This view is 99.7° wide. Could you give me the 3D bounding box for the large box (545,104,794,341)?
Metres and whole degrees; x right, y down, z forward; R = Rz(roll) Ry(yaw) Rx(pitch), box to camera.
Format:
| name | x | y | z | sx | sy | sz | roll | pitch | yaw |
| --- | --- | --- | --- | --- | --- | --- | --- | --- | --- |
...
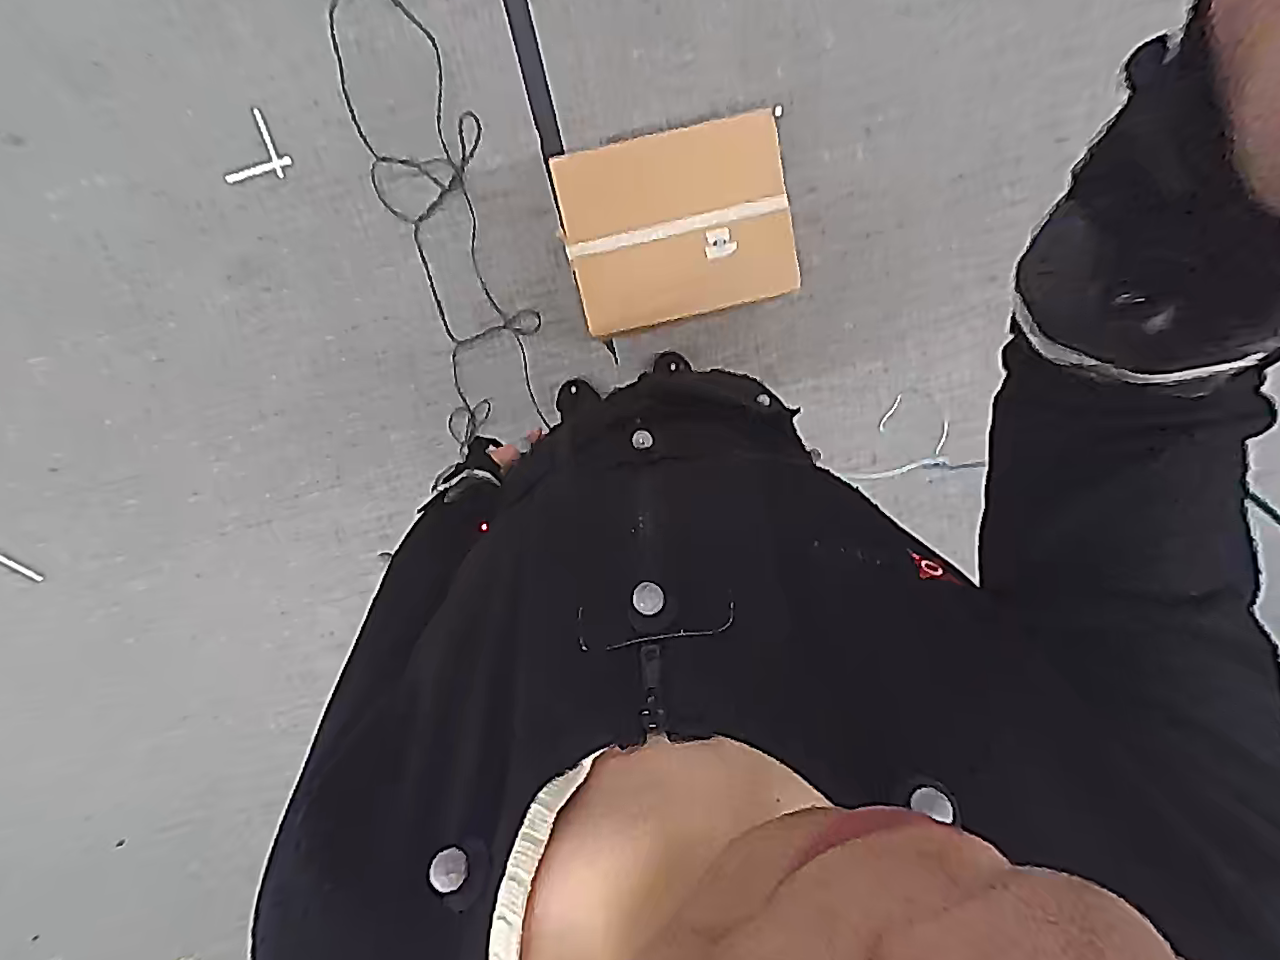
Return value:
| name | x | y | z | sx | sy | sz | roll | pitch | yaw |
| --- | --- | --- | --- | --- | --- | --- | --- | --- | --- |
| large box | 0.051 | -0.489 | 1.111 | 0.408 | 0.320 | 0.320 | -13 | 104 | 0 |
